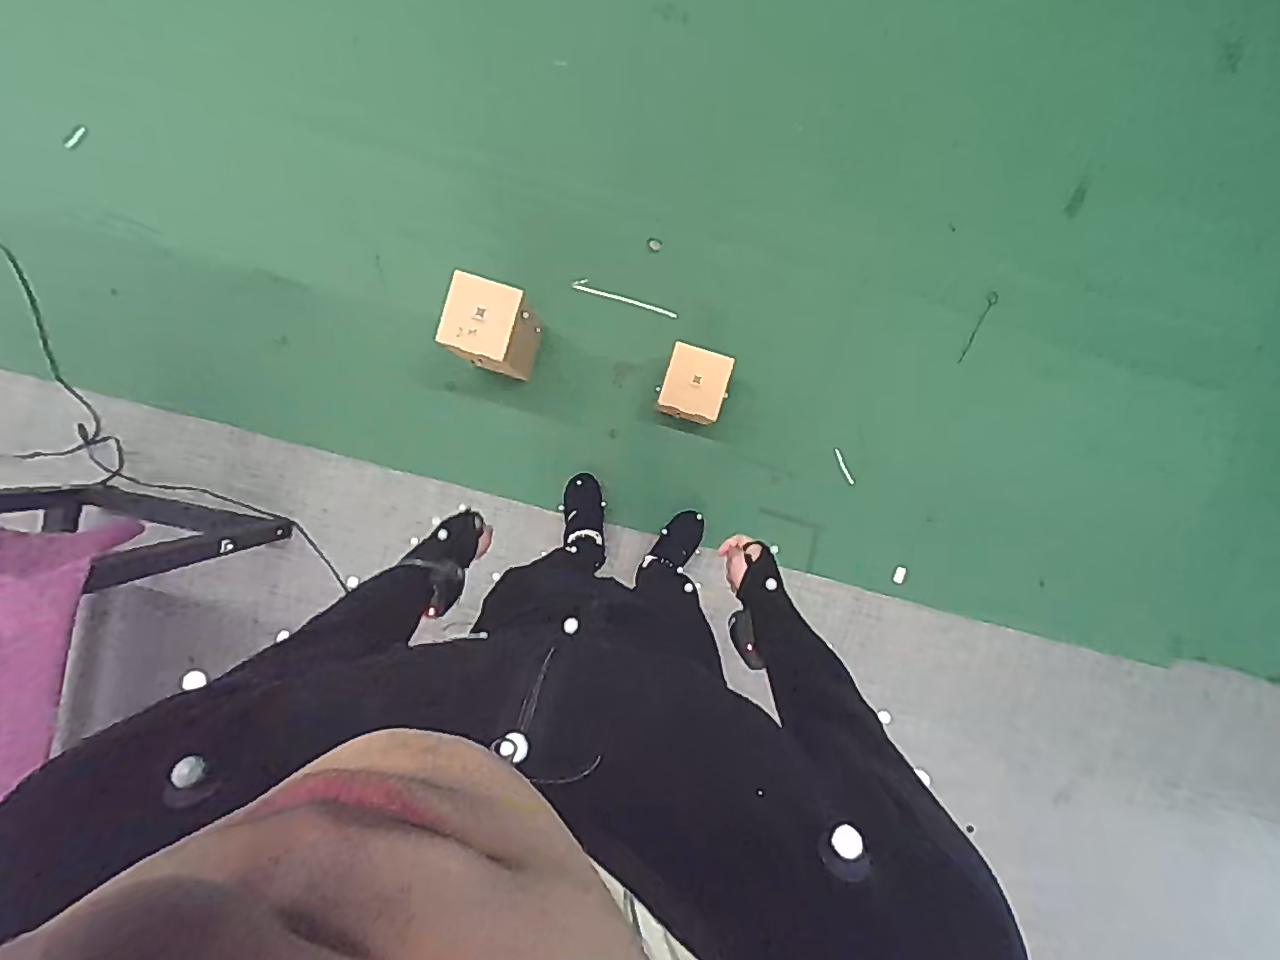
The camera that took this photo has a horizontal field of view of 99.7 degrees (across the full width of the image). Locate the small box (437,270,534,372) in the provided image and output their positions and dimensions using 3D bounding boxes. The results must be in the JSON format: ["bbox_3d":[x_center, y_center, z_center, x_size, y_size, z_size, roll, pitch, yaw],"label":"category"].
[{"bbox_3d":[-0.370,-0.381,1.330,0.168,0.176,0.179,17,92,-1],"label":"small box"}]

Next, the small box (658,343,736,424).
[{"bbox_3d":[0.151,-0.263,1.515,0.168,0.176,0.179,16,93,-2],"label":"small box"}]
